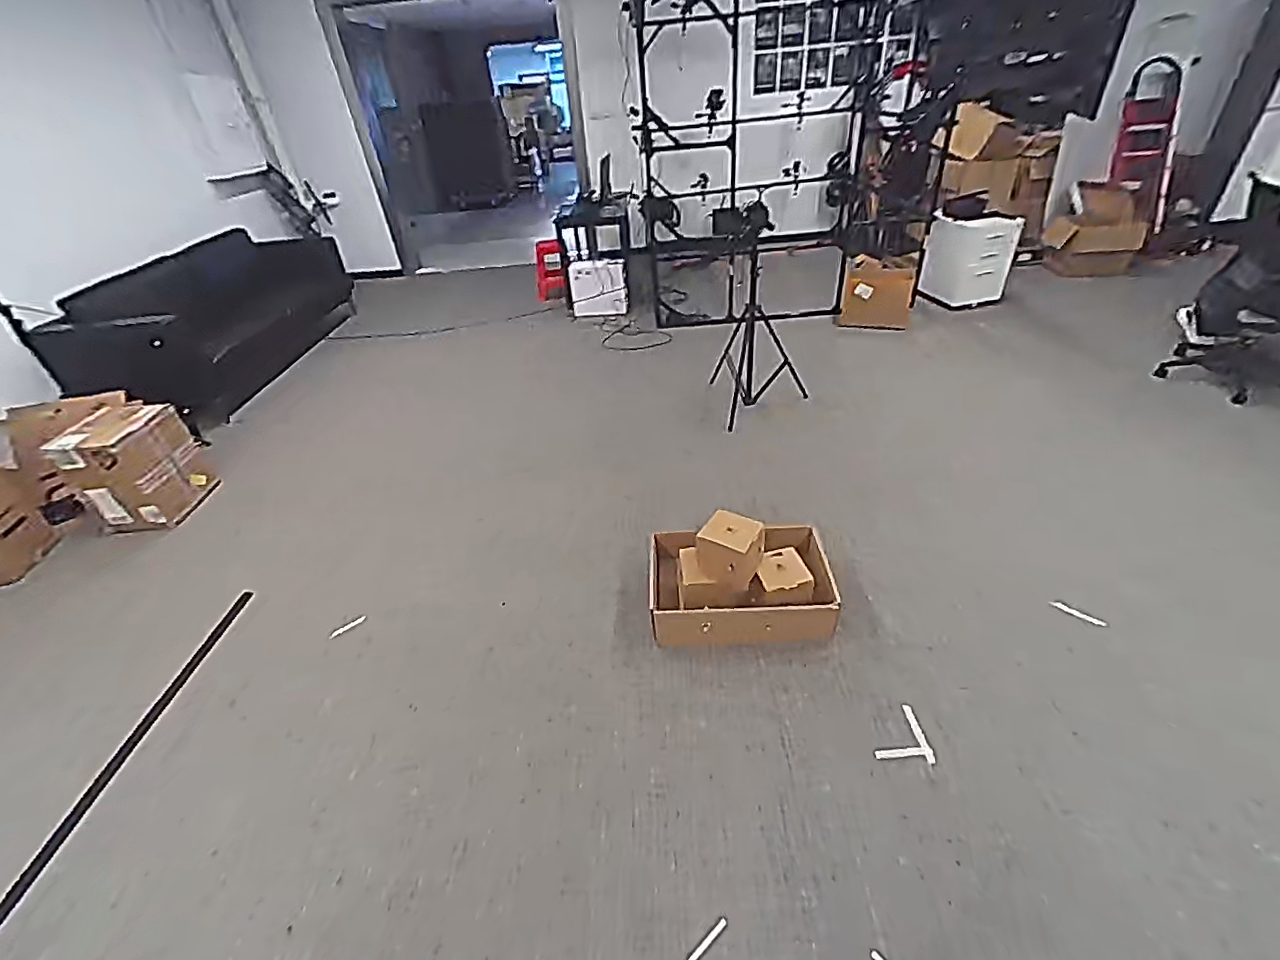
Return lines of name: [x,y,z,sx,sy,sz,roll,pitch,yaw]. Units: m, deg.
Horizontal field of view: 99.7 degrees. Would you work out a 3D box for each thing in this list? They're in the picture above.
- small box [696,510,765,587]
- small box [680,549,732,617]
small box: [0.303,0.232,1.805,0.179,0.176,0.168,16,39,30]
small box: [0.229,0.361,1.914,0.168,0.176,0.179,-4,36,1]
